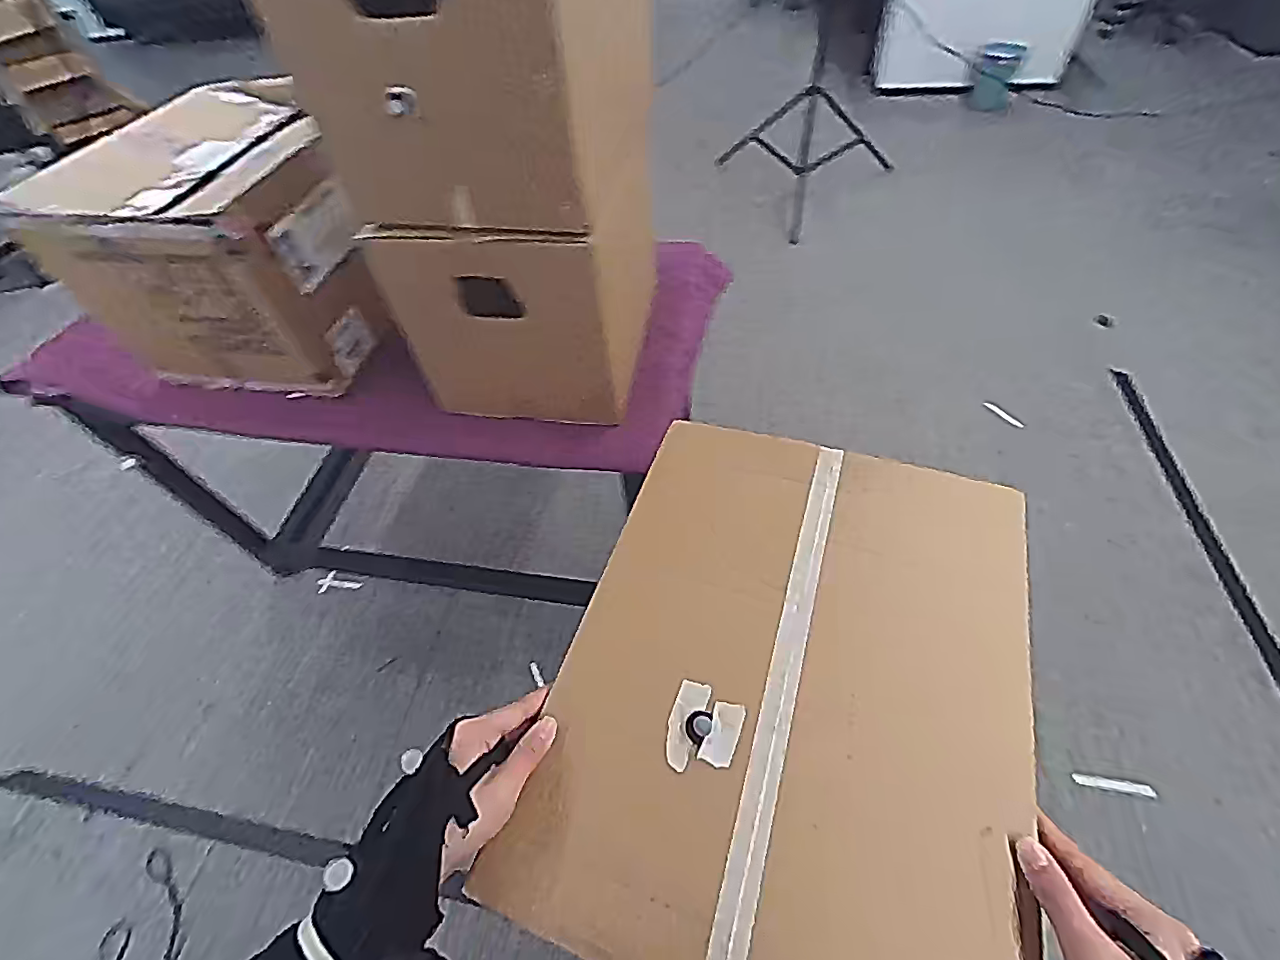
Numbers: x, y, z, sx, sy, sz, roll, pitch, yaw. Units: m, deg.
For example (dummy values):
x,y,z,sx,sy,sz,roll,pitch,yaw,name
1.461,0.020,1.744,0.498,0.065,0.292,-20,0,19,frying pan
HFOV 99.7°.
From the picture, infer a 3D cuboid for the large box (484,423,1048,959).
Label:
x,y,z,sx,sy,sz,roll,pitch,yaw,name
0.121,0.214,0.508,0.320,0.320,0.408,12,56,16,large box
